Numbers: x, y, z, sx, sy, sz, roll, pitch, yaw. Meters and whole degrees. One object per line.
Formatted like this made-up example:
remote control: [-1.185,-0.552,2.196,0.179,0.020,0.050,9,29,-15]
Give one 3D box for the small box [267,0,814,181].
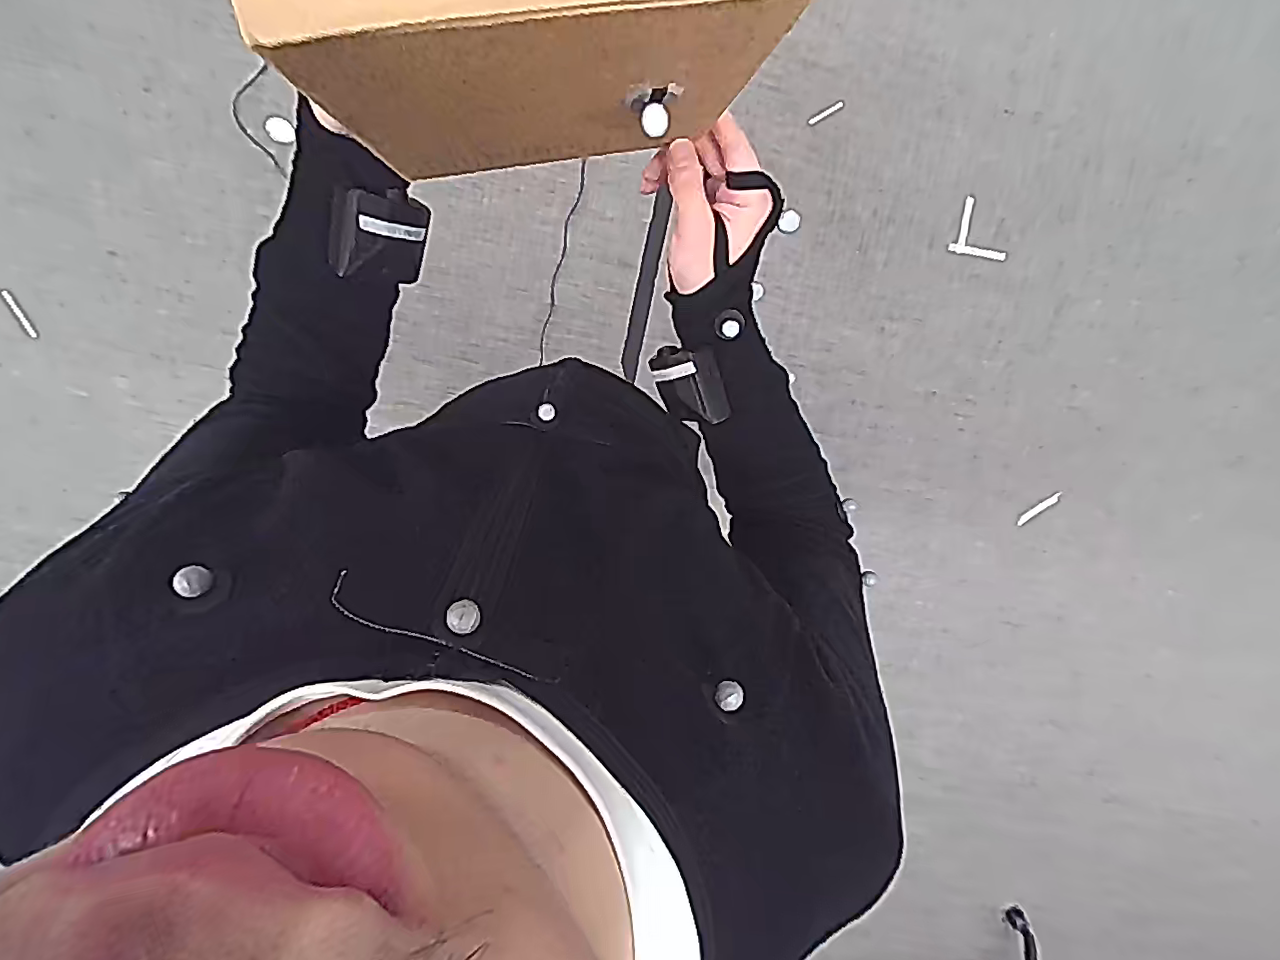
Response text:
small box: [-0.047,-0.242,0.225,0.179,0.176,0.168,-11,108,-4]
